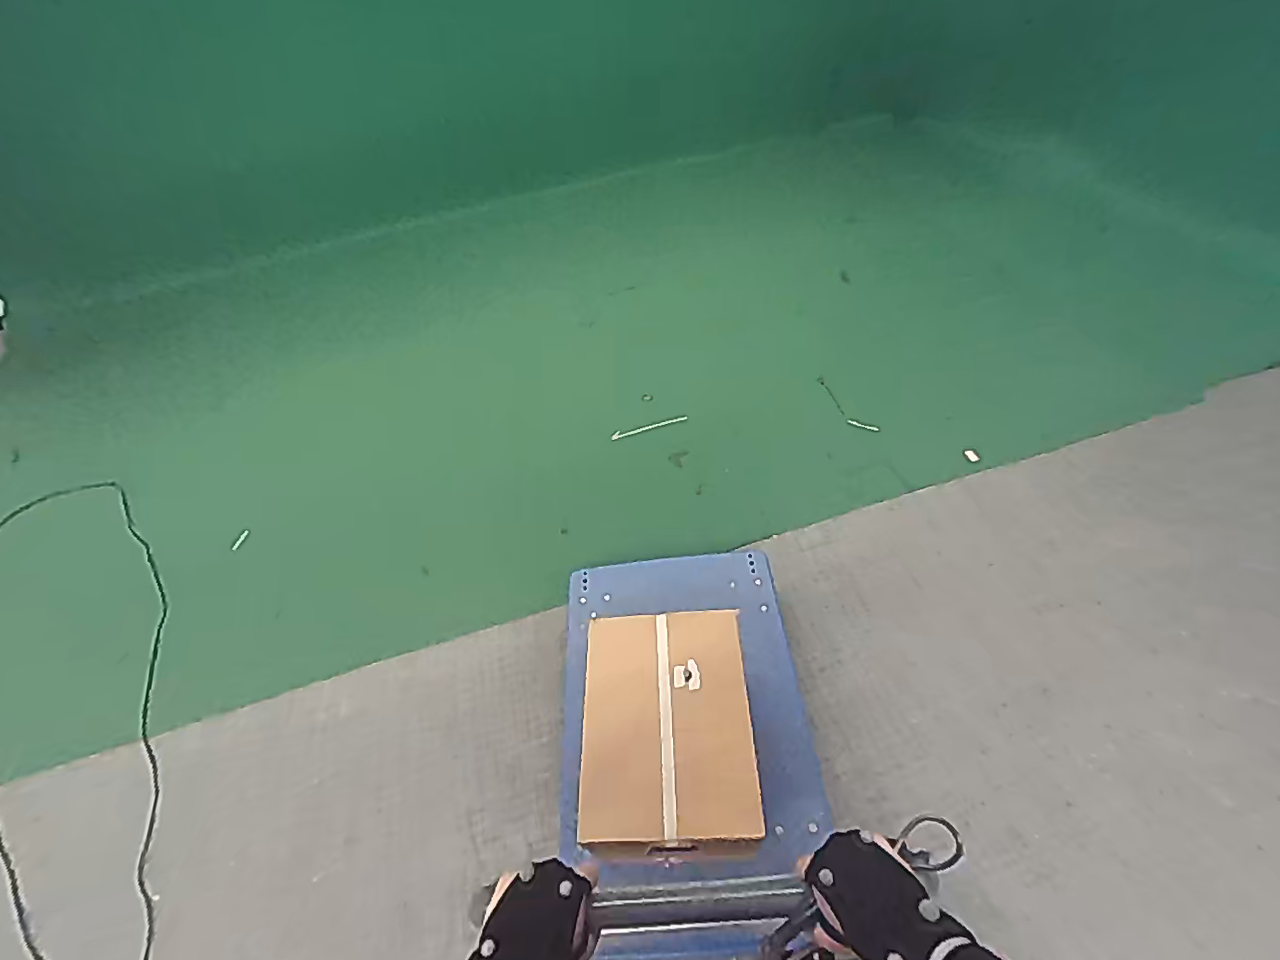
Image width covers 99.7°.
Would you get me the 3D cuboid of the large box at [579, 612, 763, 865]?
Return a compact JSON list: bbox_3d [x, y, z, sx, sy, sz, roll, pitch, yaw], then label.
[{"bbox_3d":[0.063,0.539,1.131,0.320,0.320,0.408,-5,49,4],"label":"large box"}]
